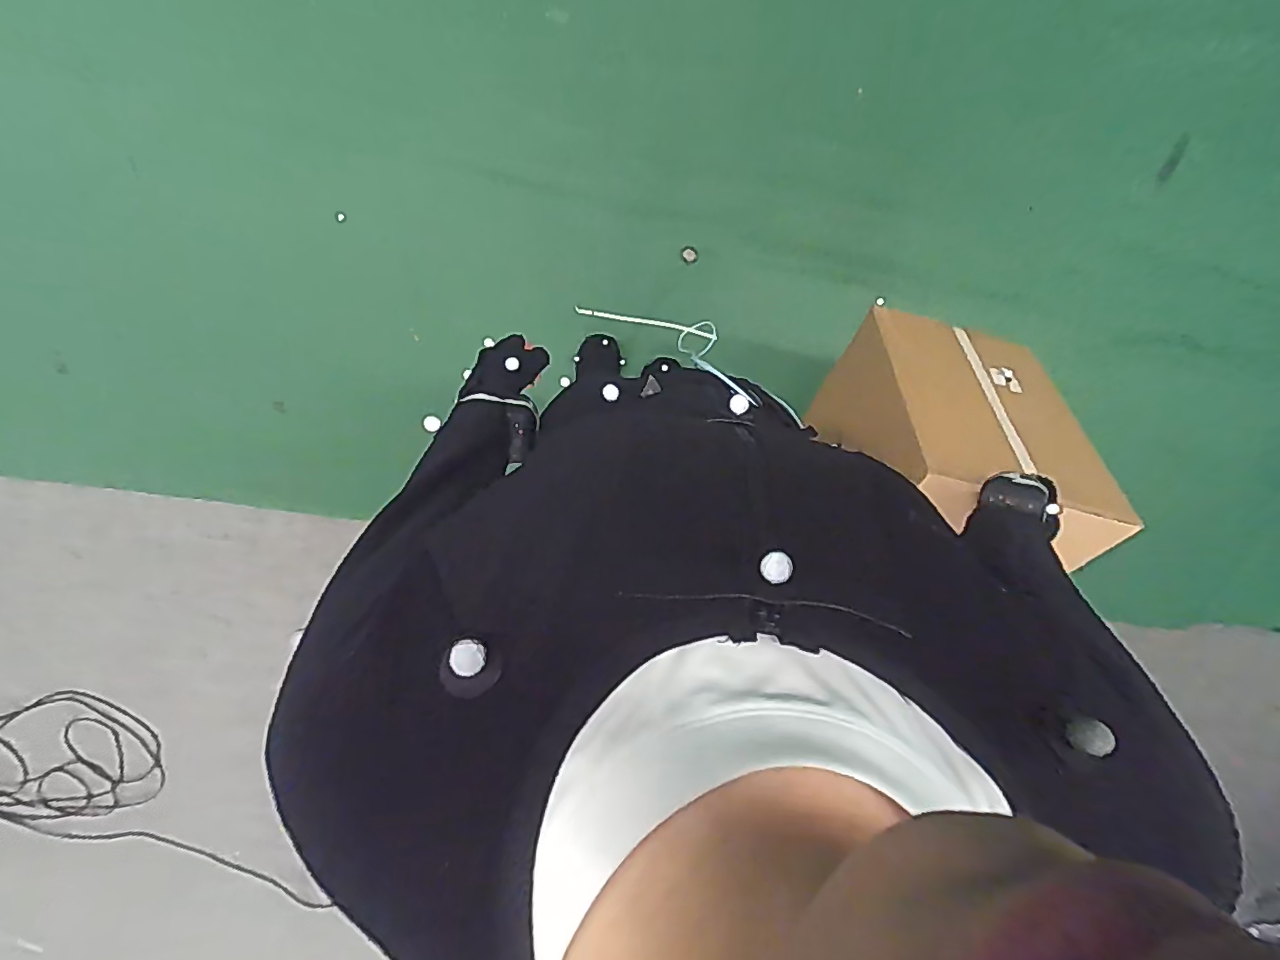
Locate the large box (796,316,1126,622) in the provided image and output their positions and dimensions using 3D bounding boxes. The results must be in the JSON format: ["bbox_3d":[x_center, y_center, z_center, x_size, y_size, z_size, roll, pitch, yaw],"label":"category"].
[{"bbox_3d":[0.495,-0.017,0.951,0.320,0.408,0.320,14,137,-6],"label":"large box"}]
